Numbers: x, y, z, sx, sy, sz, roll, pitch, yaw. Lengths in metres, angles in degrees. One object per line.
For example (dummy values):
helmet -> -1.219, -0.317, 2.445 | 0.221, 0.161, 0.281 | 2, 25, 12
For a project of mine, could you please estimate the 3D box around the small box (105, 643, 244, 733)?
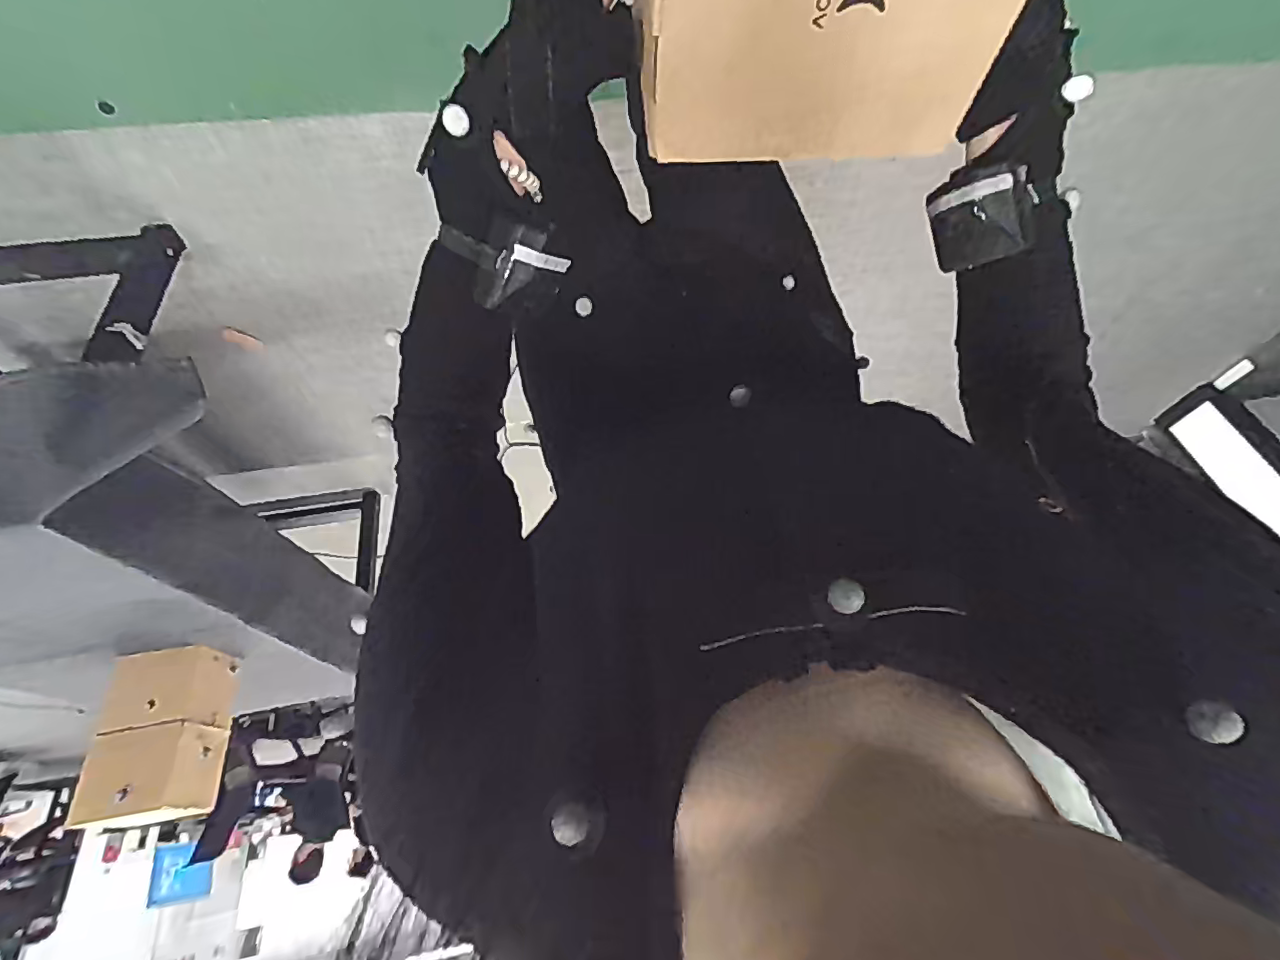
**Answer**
small box -> -1.057, 0.486, 1.250 | 0.179, 0.176, 0.168 | -7, 149, -5

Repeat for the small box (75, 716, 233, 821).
small box -> -1.028, 0.621, 1.165 | 0.179, 0.176, 0.168 | -8, 149, -6

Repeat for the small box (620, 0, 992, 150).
small box -> 0.081, -0.307, 0.282 | 0.179, 0.176, 0.168 | -4, 154, -3
